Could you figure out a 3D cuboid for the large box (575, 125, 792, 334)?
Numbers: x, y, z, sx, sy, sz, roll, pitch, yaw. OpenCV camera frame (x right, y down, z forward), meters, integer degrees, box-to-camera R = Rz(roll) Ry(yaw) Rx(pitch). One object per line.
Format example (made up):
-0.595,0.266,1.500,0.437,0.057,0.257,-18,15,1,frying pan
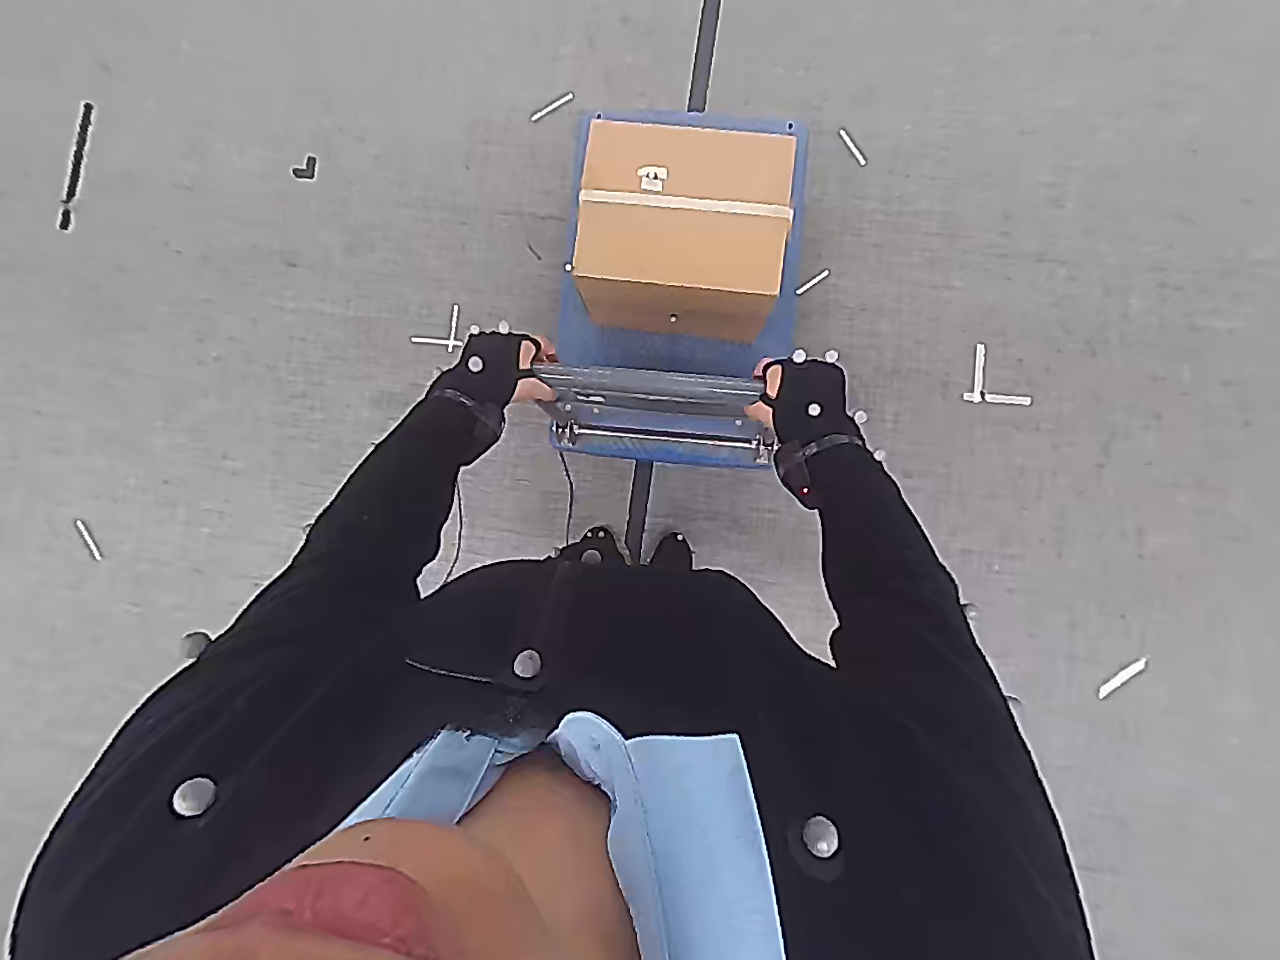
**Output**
0.096,-0.530,1.202,0.408,0.320,0.320,7,88,4,large box
